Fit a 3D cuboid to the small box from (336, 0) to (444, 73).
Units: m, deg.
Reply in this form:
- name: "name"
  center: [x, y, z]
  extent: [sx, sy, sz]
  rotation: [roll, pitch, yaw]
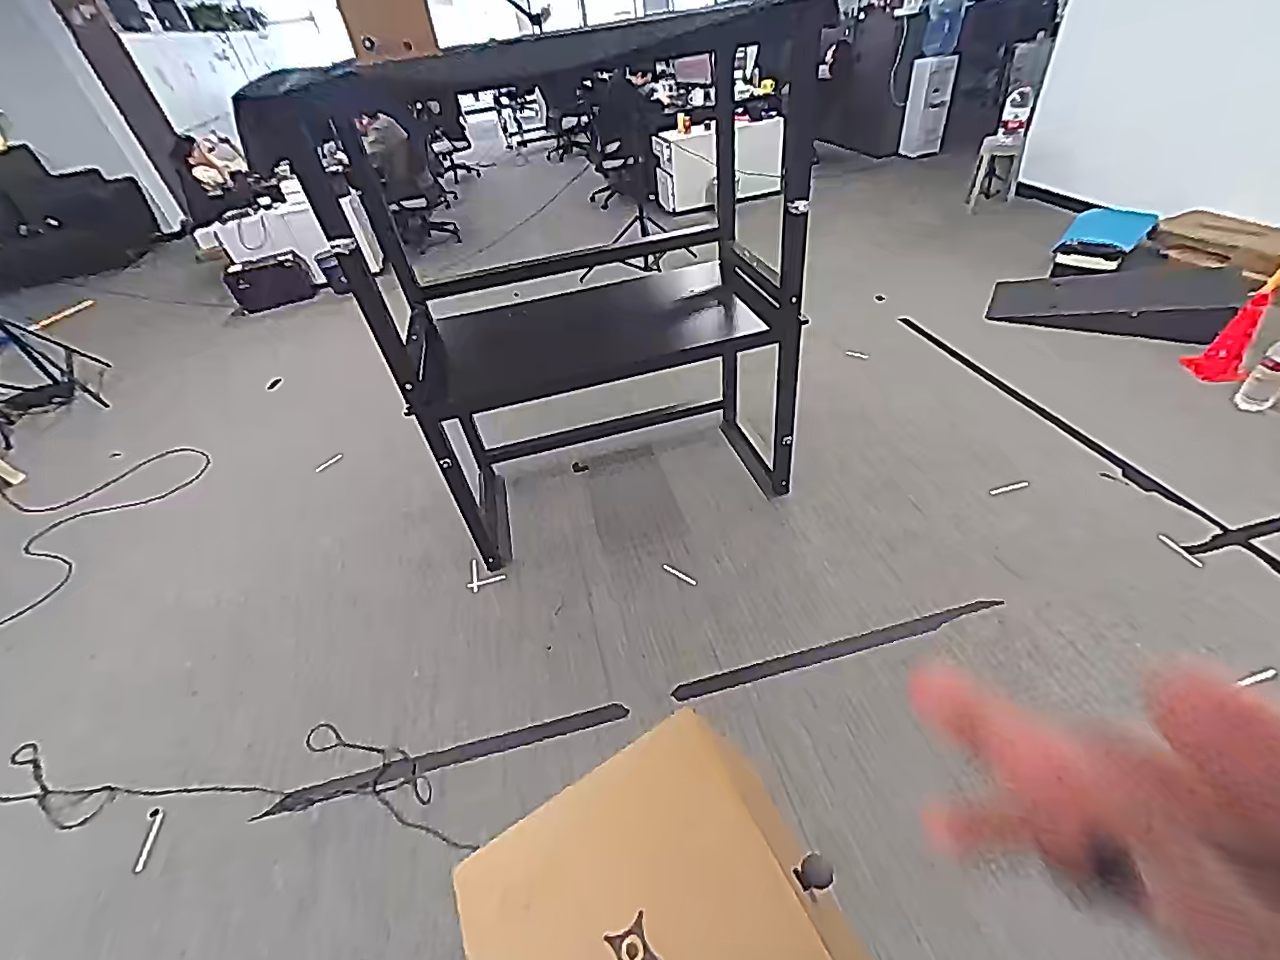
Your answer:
- name: "small box"
  center: [-0.506, -0.942, 1.094]
  extent: [0.168, 0.176, 0.179]
  rotation: [-15, 39, -9]

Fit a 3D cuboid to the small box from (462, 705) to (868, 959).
- name: "small box"
  center: [0.029, 0.273, 0.313]
  extent: [0.168, 0.176, 0.179]
  rotation: [-34, 47, -3]
